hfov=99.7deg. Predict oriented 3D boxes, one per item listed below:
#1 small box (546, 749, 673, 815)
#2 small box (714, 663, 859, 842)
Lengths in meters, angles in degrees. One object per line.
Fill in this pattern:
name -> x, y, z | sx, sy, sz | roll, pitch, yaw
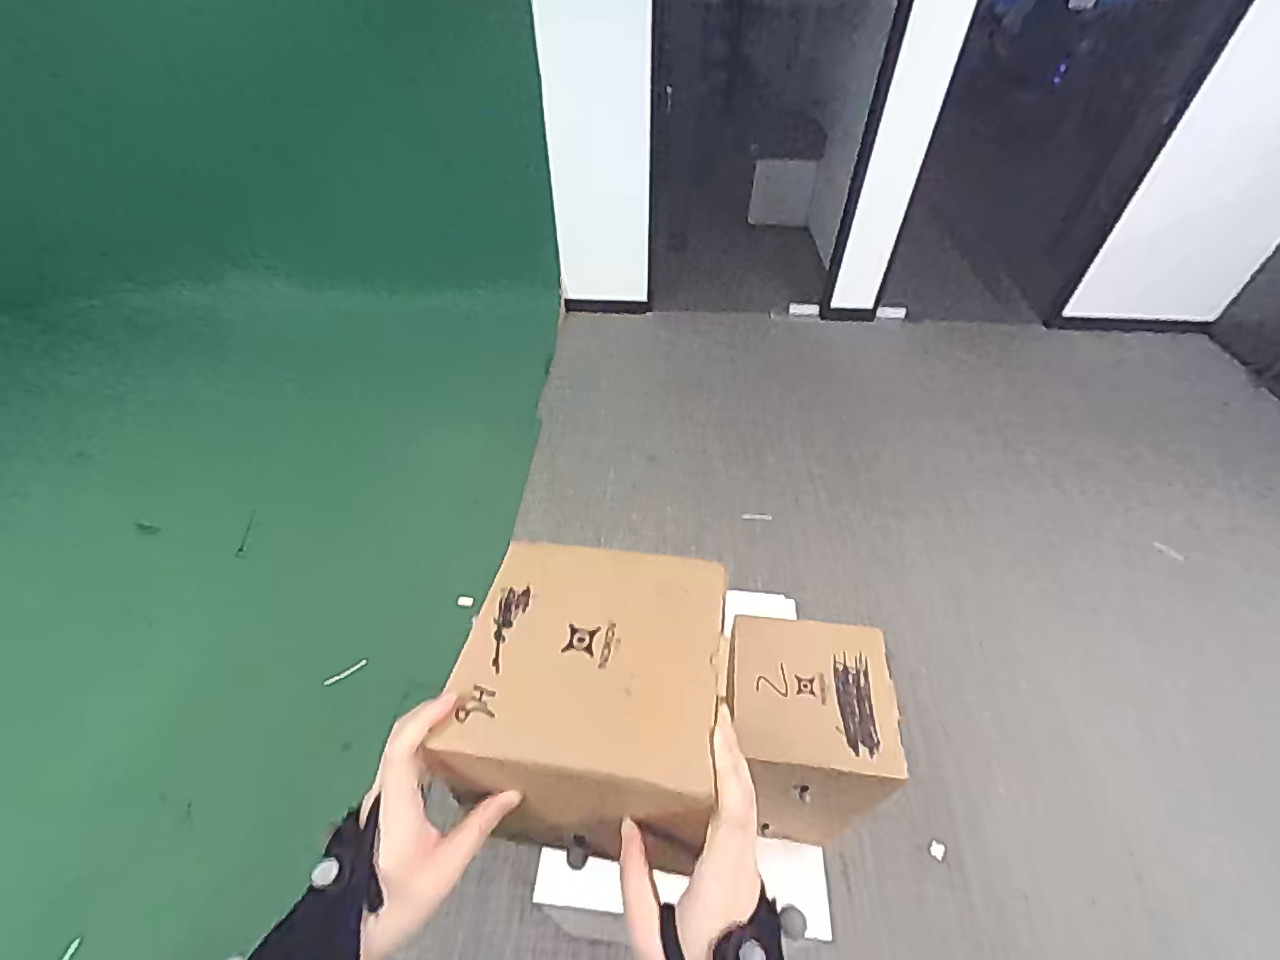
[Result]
small box -> -0.033, 0.367, 0.796 | 0.168, 0.176, 0.179 | 5, 47, 4
small box -> 0.197, 0.390, 0.775 | 0.168, 0.176, 0.179 | 5, 47, 6
